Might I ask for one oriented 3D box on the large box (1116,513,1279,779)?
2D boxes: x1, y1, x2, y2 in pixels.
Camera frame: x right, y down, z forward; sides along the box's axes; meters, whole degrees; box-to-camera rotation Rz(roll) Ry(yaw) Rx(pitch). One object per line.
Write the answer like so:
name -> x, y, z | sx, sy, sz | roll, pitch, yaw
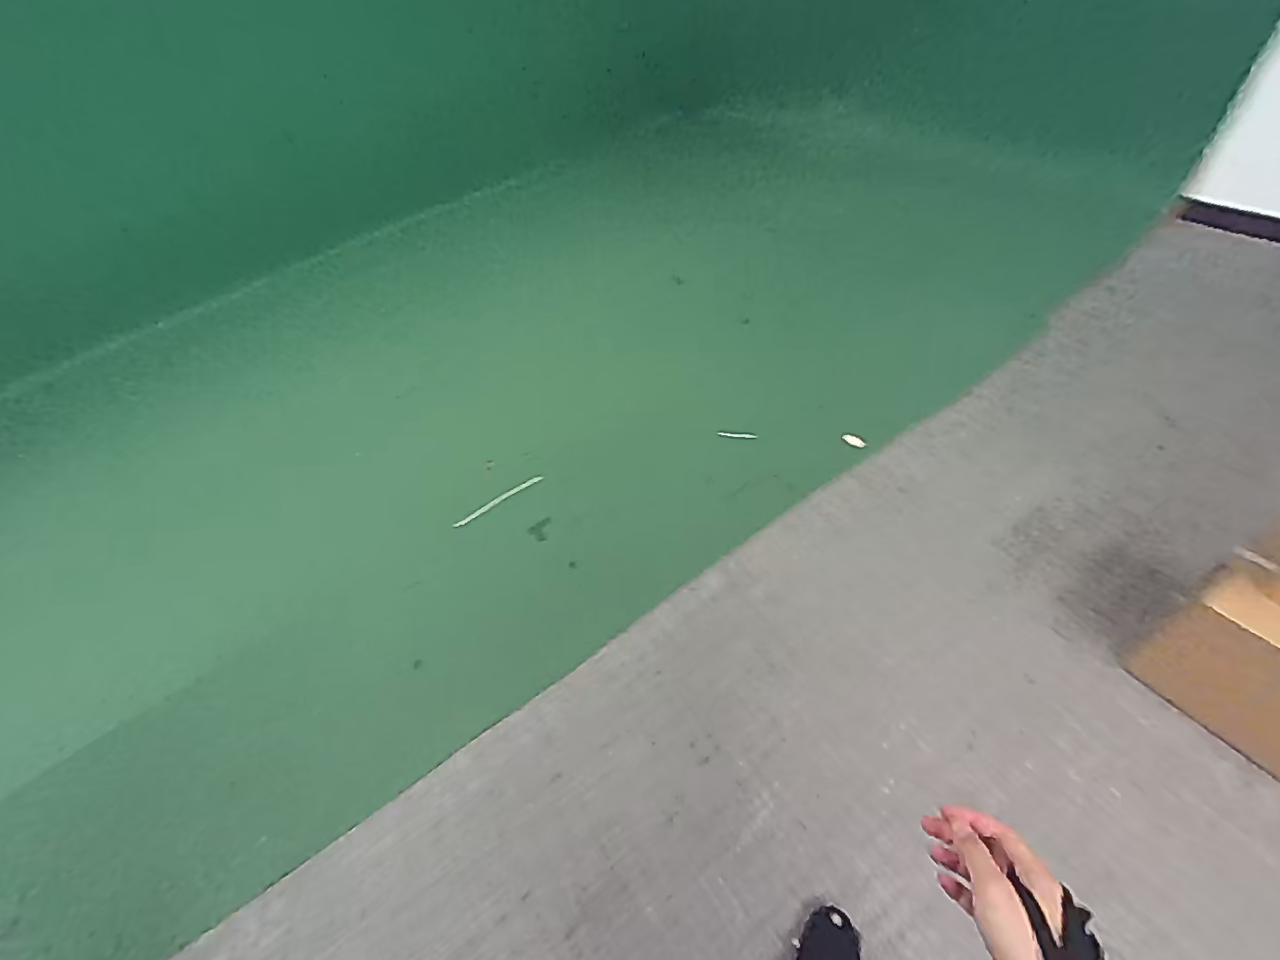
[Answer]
large box -> 1.264, 0.345, 1.019 | 0.320, 0.320, 0.408 | -34, 53, -15
